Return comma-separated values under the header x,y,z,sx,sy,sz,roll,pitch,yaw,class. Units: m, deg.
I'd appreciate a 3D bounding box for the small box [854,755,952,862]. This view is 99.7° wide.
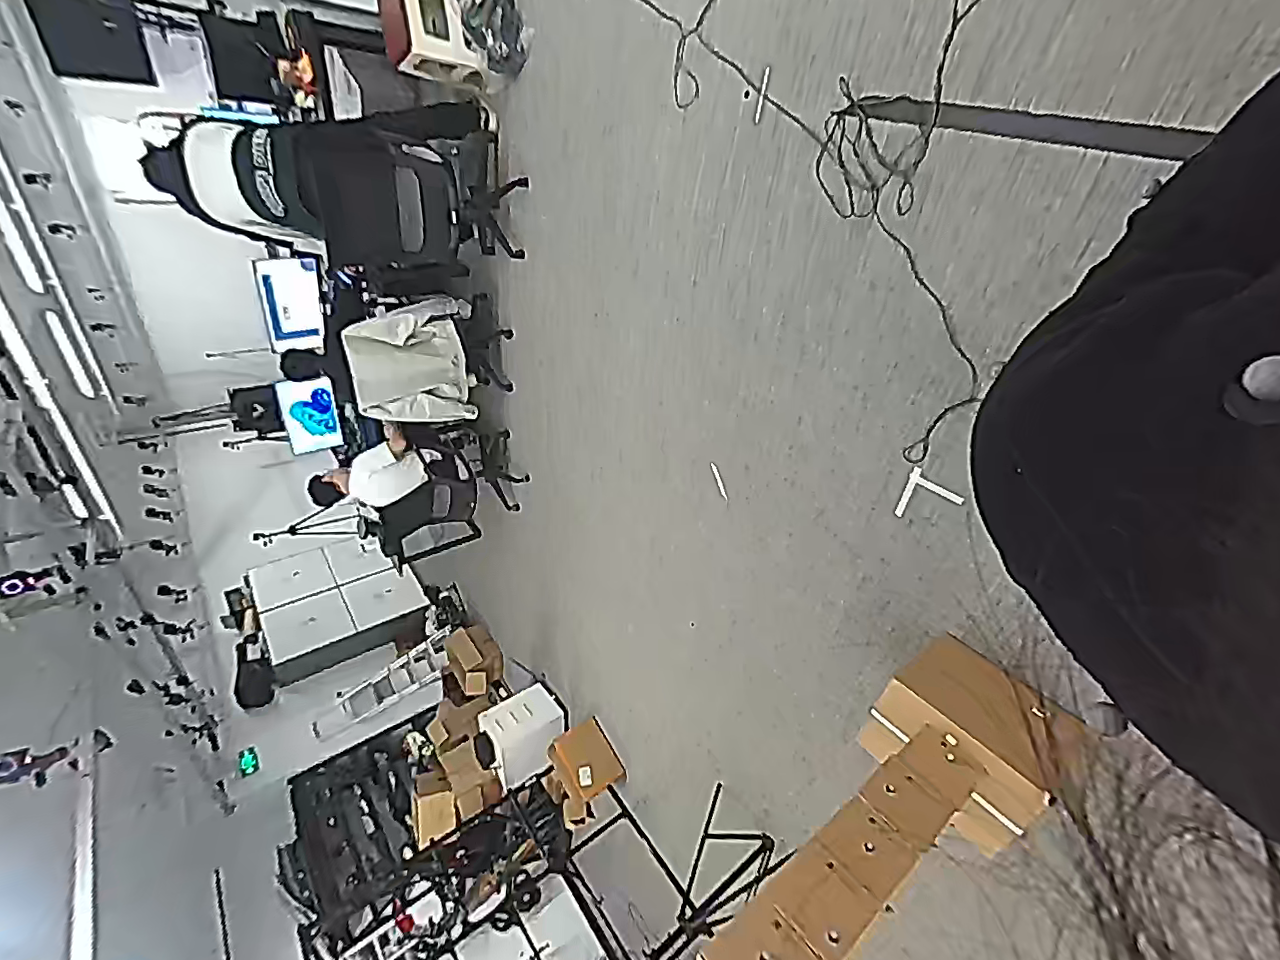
x,y,z,sx,sy,sz,roll,pitch,yaw,class
0.608,0.801,1.287,0.168,0.176,0.179,37,133,41,small box

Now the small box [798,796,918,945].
x,y,z,sx,sy,sz,roll,pitch,yaw,class
0.481,0.849,1.193,0.168,0.176,0.179,33,130,44,small box

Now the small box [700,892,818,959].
x,y,z,sx,sy,sz,roll,pitch,yaw,class
0.225,0.931,1.006,0.168,0.176,0.179,29,126,46,small box

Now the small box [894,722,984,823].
x,y,z,sx,sy,sz,roll,pitch,yaw,class
0.736,0.766,1.379,0.168,0.176,0.179,37,132,39,small box
